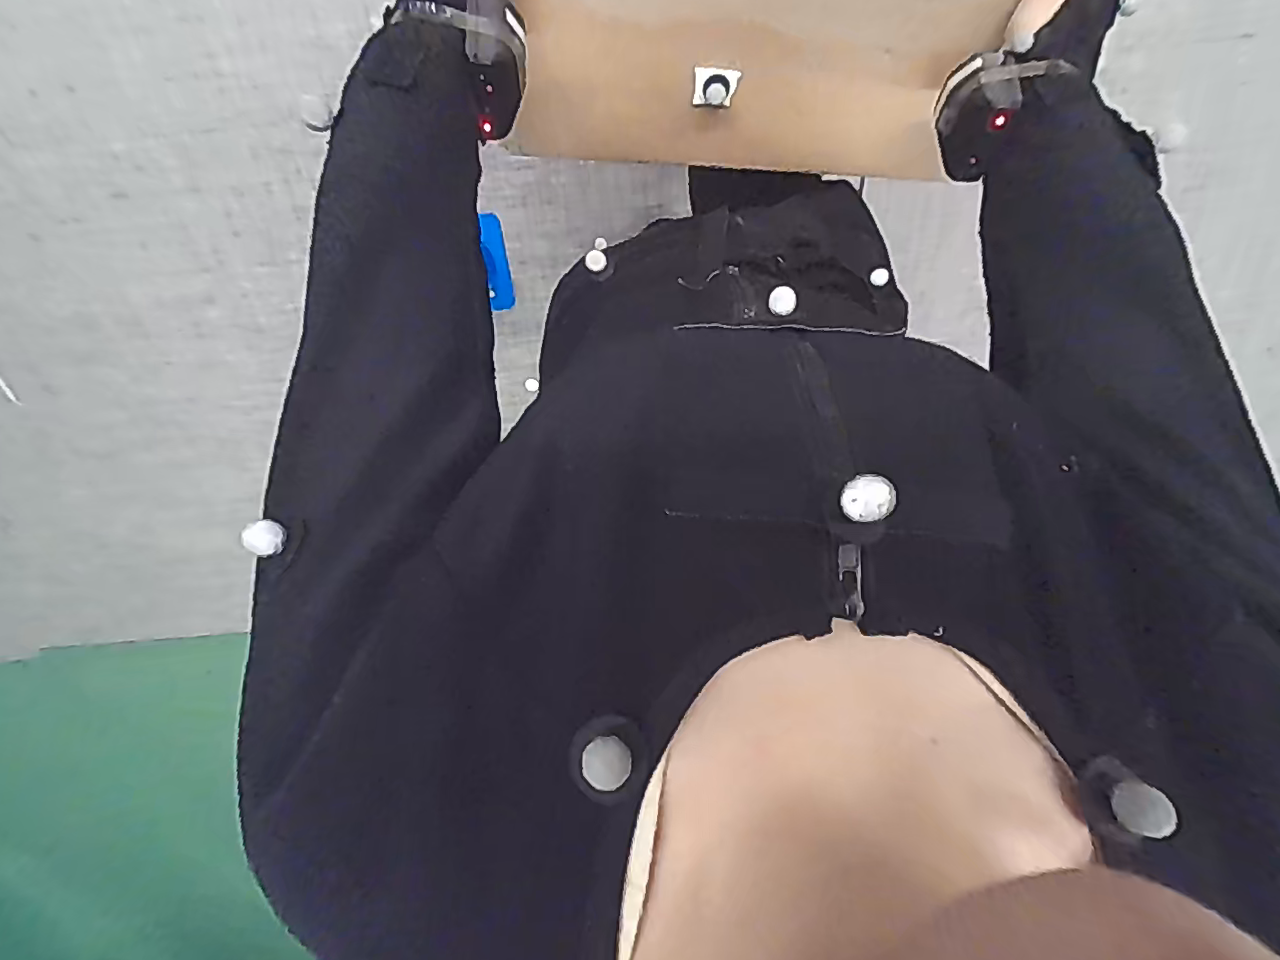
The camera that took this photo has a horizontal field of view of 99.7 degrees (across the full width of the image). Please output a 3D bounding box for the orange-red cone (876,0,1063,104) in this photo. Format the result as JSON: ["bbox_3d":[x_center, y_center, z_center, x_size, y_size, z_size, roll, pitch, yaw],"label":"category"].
[{"bbox_3d":[0.549,-0.724,0.818,0.199,0.360,0.198,13,120,-9],"label":"orange-red cone"}]

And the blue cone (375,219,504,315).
[{"bbox_3d":[-0.397,-0.379,1.028,0.192,0.380,0.193,-3,119,2],"label":"blue cone"}]
